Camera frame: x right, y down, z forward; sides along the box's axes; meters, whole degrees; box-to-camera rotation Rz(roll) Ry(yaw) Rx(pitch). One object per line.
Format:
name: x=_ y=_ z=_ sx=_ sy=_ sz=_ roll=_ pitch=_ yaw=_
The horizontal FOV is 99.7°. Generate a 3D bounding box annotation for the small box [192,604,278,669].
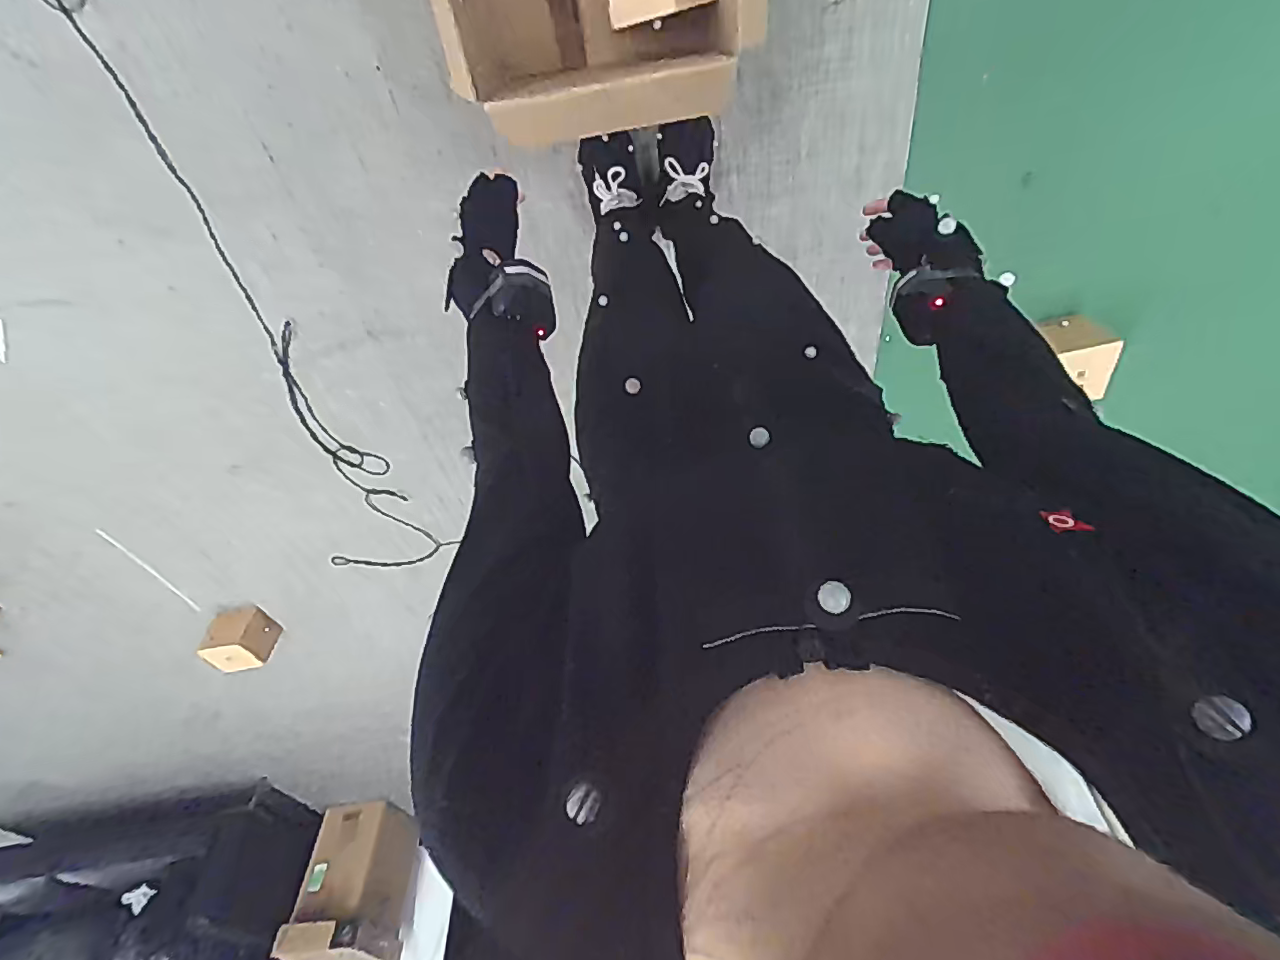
small box: x=-1.554 y=0.602 z=2.086 sx=0.179 sy=0.176 sz=0.168 roll=-10 pitch=132 yaw=5

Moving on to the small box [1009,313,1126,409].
small box: x=1.137 y=-0.322 z=1.458 sx=0.168 sy=0.176 sz=0.179 roll=-11 pitch=131 yaw=6
